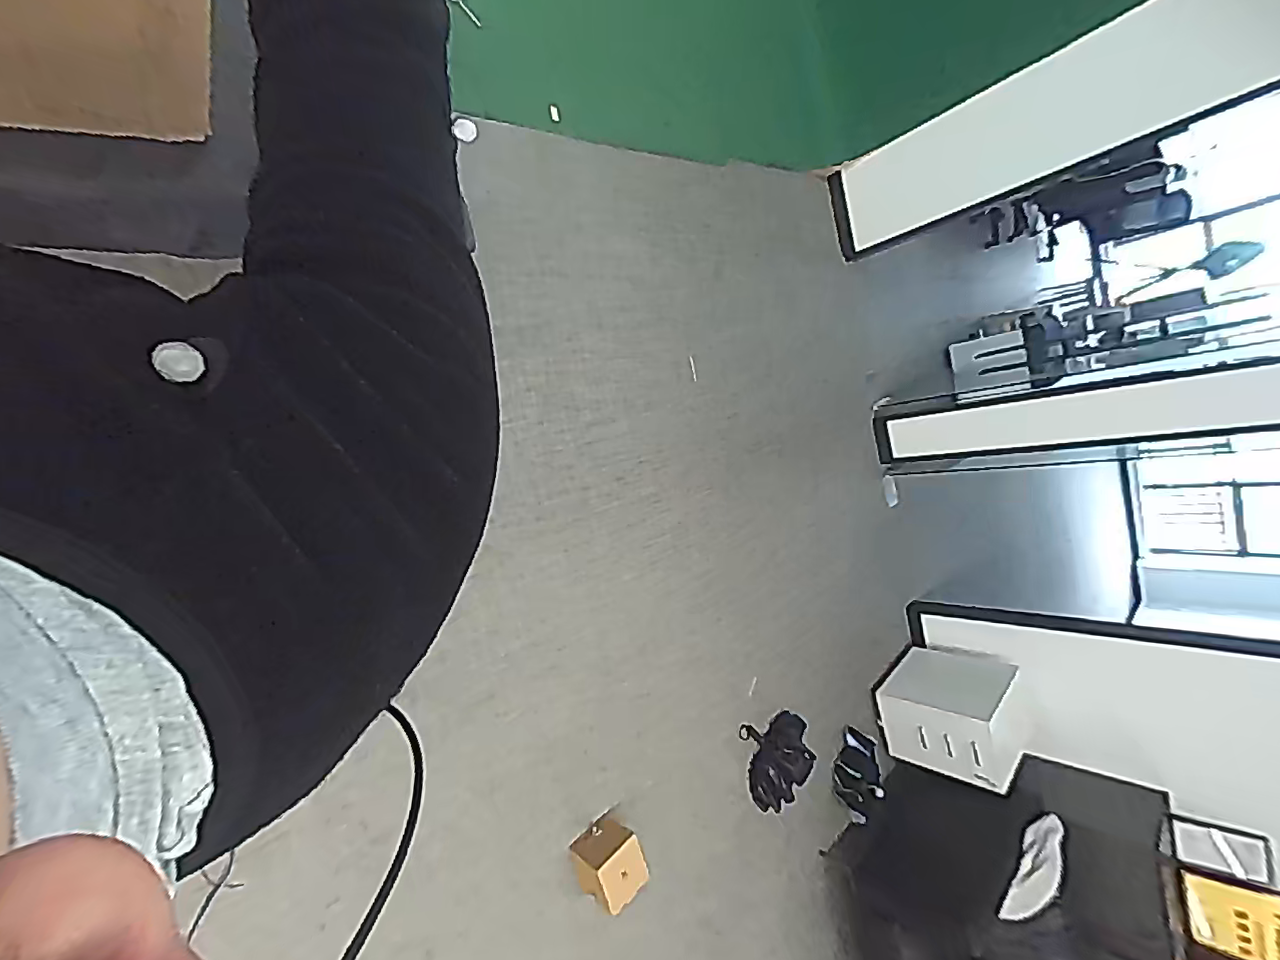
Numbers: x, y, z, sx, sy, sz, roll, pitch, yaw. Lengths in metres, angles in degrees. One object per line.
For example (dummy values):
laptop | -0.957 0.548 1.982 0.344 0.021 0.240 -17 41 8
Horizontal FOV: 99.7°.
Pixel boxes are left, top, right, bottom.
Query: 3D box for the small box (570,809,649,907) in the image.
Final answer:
small box | -0.103 1.233 1.780 0.168 0.176 0.179 -26 102 -40
